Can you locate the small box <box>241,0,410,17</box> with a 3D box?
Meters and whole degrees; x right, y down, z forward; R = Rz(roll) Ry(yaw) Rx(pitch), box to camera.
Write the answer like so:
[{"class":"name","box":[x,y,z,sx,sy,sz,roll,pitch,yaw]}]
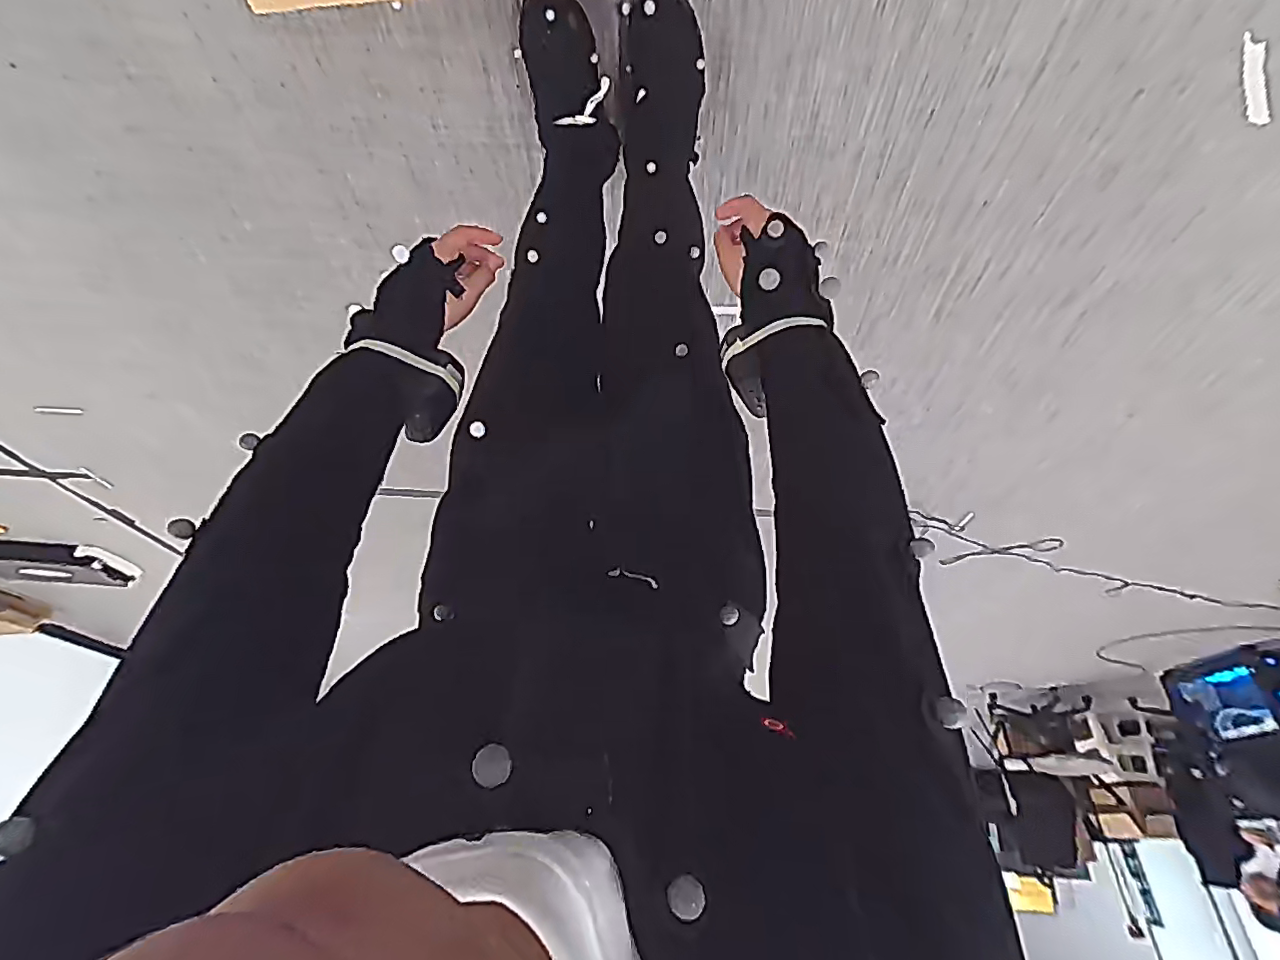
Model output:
[{"class":"small box","box":[-0.300,-0.566,0.501,0.179,0.176,0.168,-1,146,6]}]
